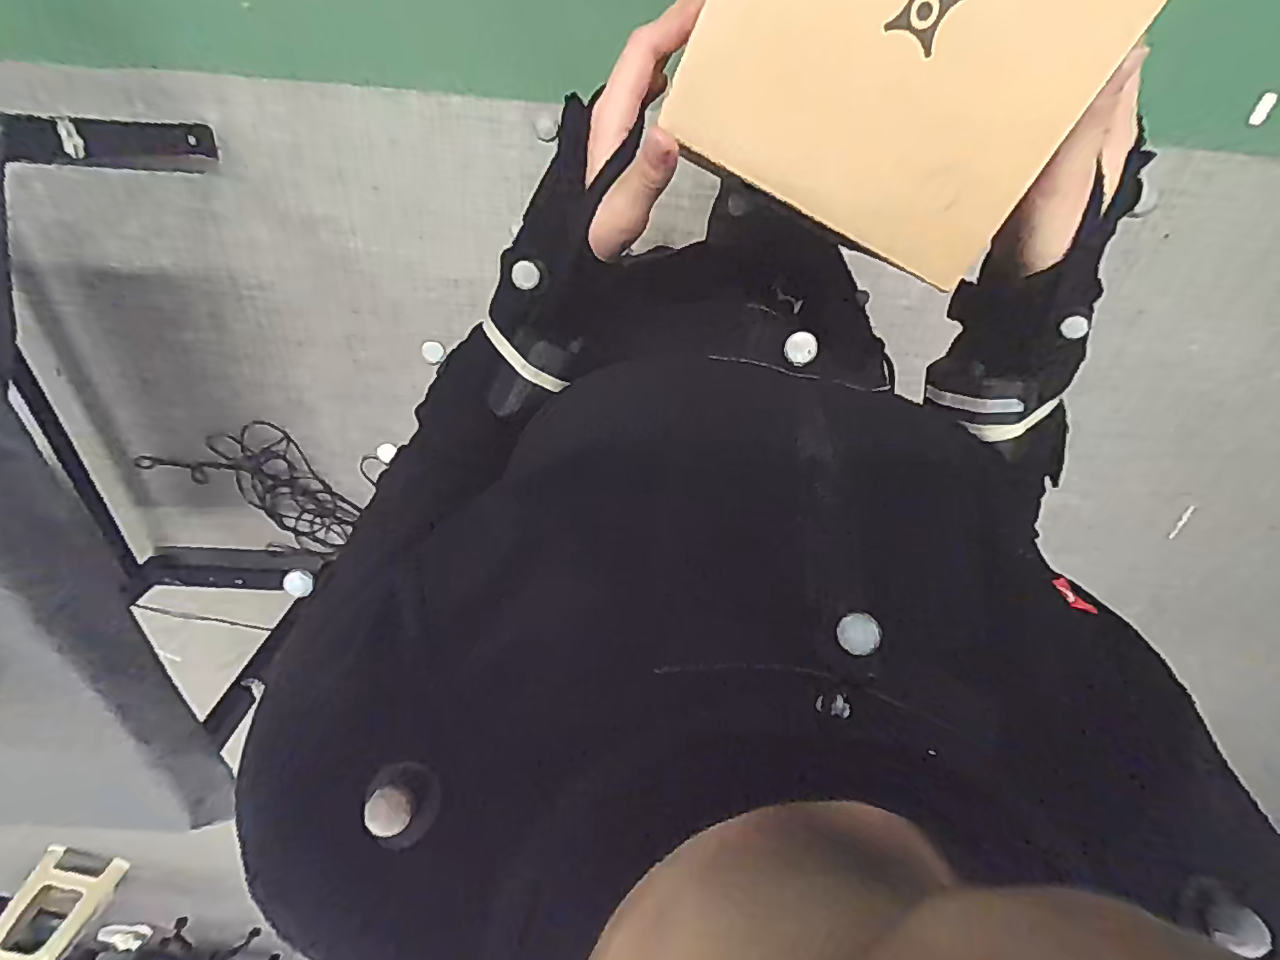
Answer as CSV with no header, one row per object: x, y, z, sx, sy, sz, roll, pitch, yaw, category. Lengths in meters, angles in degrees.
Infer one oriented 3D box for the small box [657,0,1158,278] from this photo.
0.121,-0.236,0.285,0.168,0.176,0.179,23,118,-10,small box
